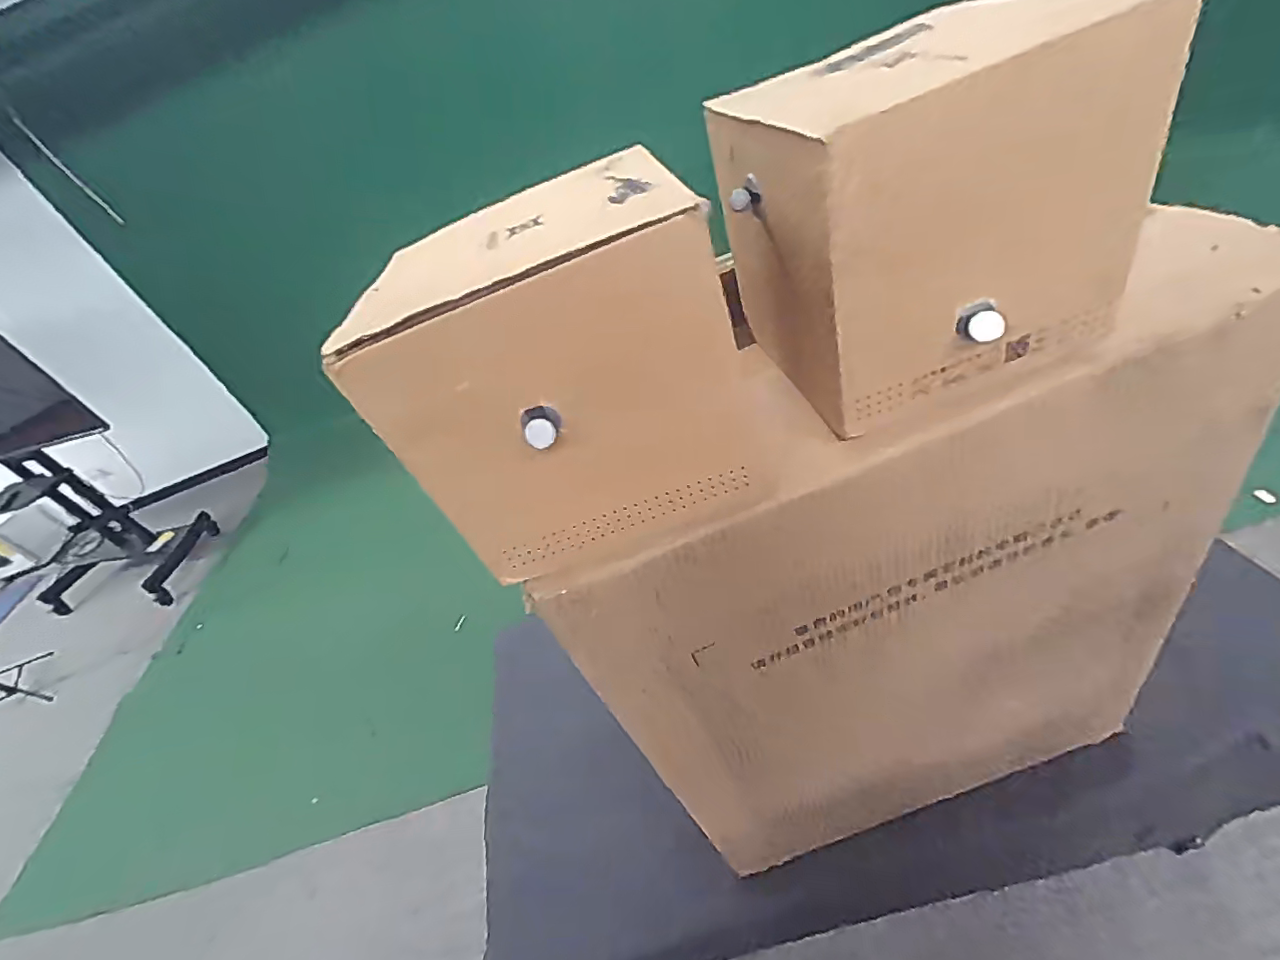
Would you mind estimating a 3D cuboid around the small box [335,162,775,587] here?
[{"bbox_3d":[-0.035,-0.061,0.333,0.179,0.176,0.168,-20,40,5],"label":"small box"}]
